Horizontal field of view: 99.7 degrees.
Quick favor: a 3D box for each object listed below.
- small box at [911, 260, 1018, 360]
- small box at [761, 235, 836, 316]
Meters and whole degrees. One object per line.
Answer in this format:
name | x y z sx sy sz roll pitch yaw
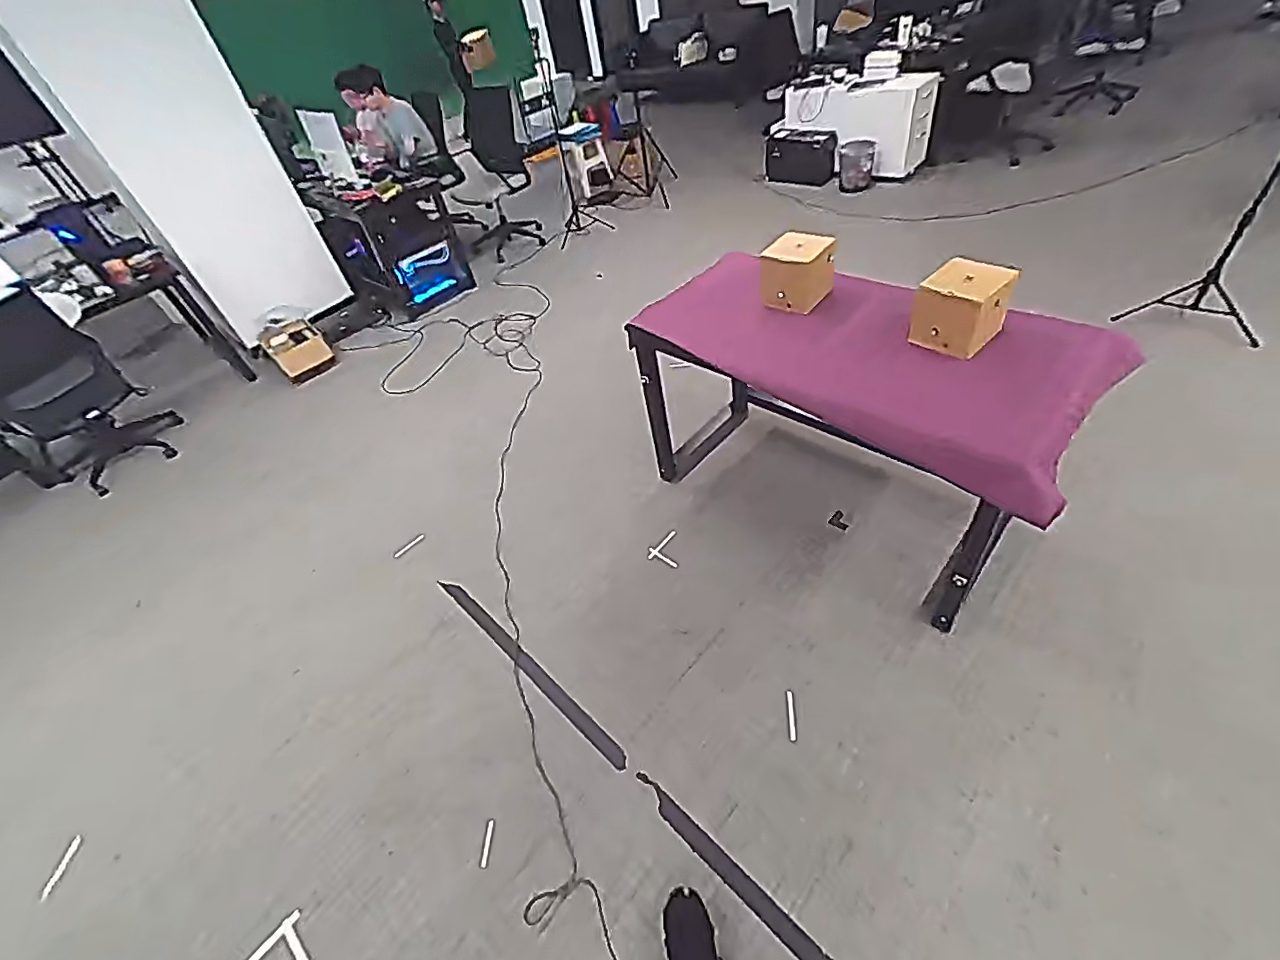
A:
small box | 0.842 -0.447 1.421 0.179 0.176 0.168 -37 48 -20
small box | 0.494 -0.644 1.701 0.168 0.176 0.179 26 57 33
